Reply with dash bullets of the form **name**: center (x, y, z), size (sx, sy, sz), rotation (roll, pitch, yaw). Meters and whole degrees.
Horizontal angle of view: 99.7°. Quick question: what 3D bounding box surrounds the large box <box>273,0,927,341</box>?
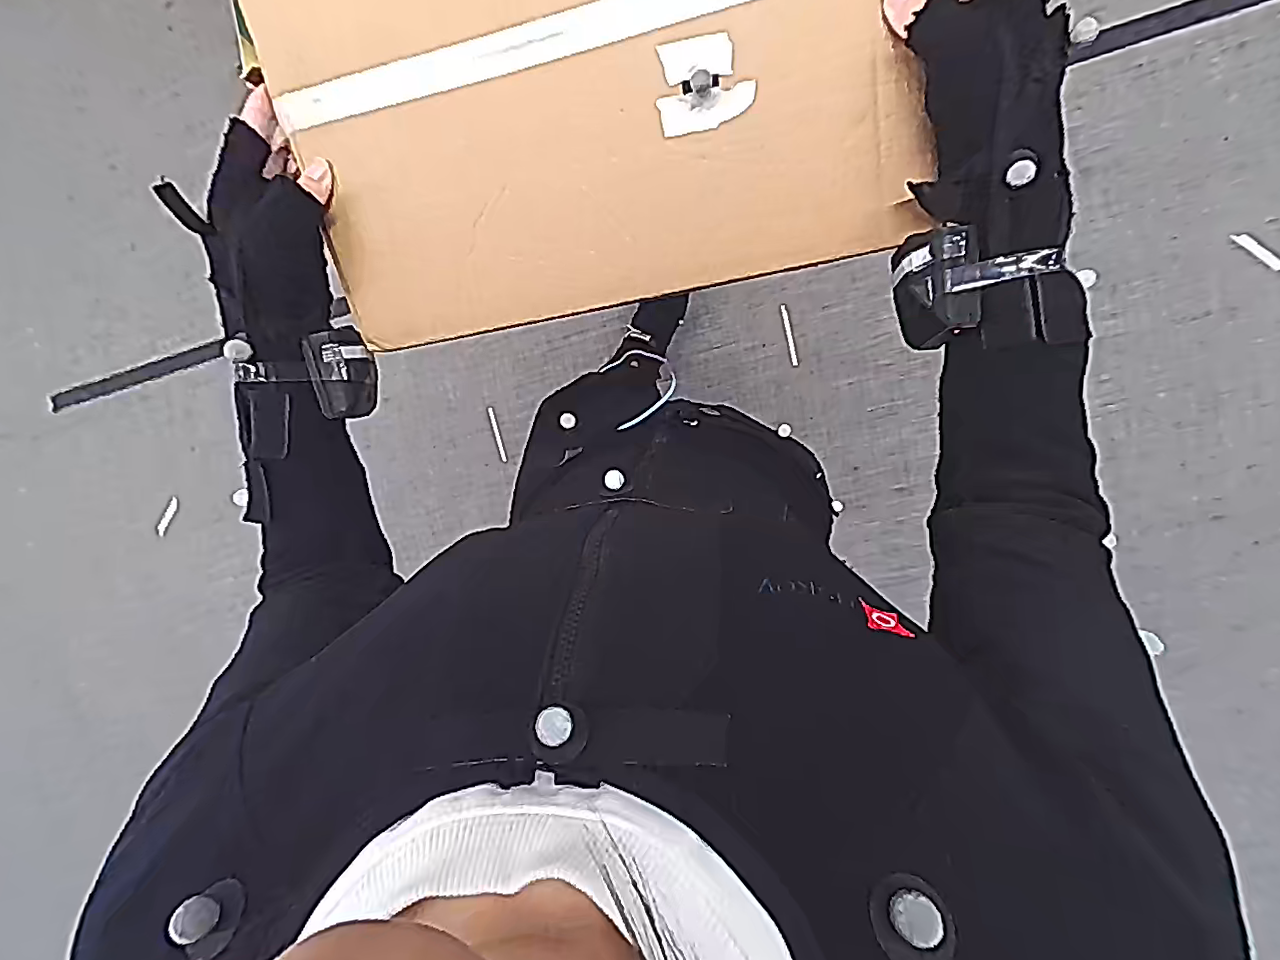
- **large box**: center (-0.020, -0.329, 0.481), size (0.408, 0.320, 0.320), rotation (-9, 109, 8)
